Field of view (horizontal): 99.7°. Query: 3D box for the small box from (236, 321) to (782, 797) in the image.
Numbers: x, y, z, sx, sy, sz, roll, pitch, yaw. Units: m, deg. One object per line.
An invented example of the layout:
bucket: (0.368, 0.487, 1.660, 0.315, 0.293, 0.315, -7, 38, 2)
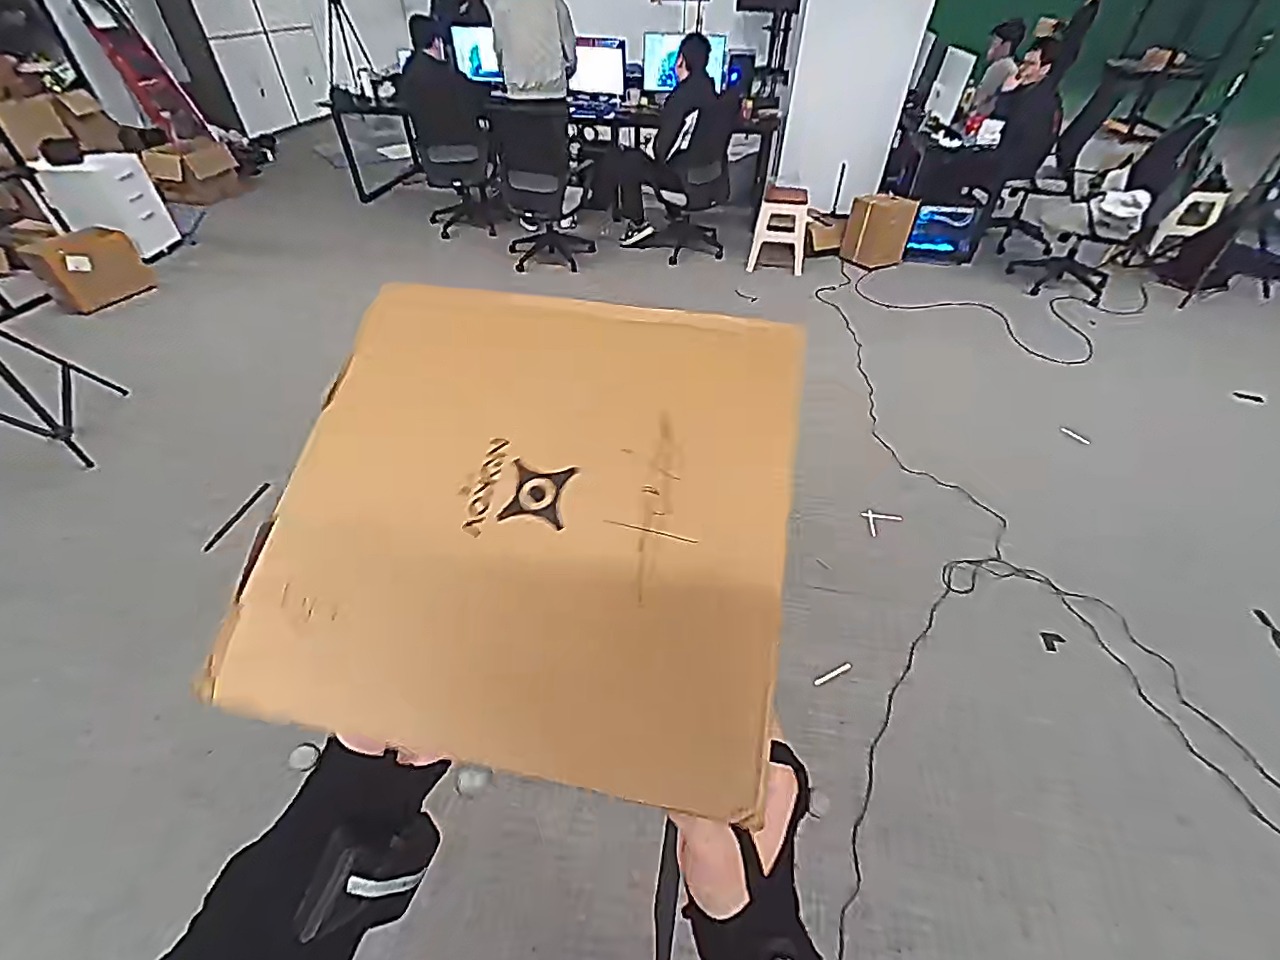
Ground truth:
small box: (-0.032, 0.043, 0.271, 0.179, 0.176, 0.168, 5, 68, 7)
